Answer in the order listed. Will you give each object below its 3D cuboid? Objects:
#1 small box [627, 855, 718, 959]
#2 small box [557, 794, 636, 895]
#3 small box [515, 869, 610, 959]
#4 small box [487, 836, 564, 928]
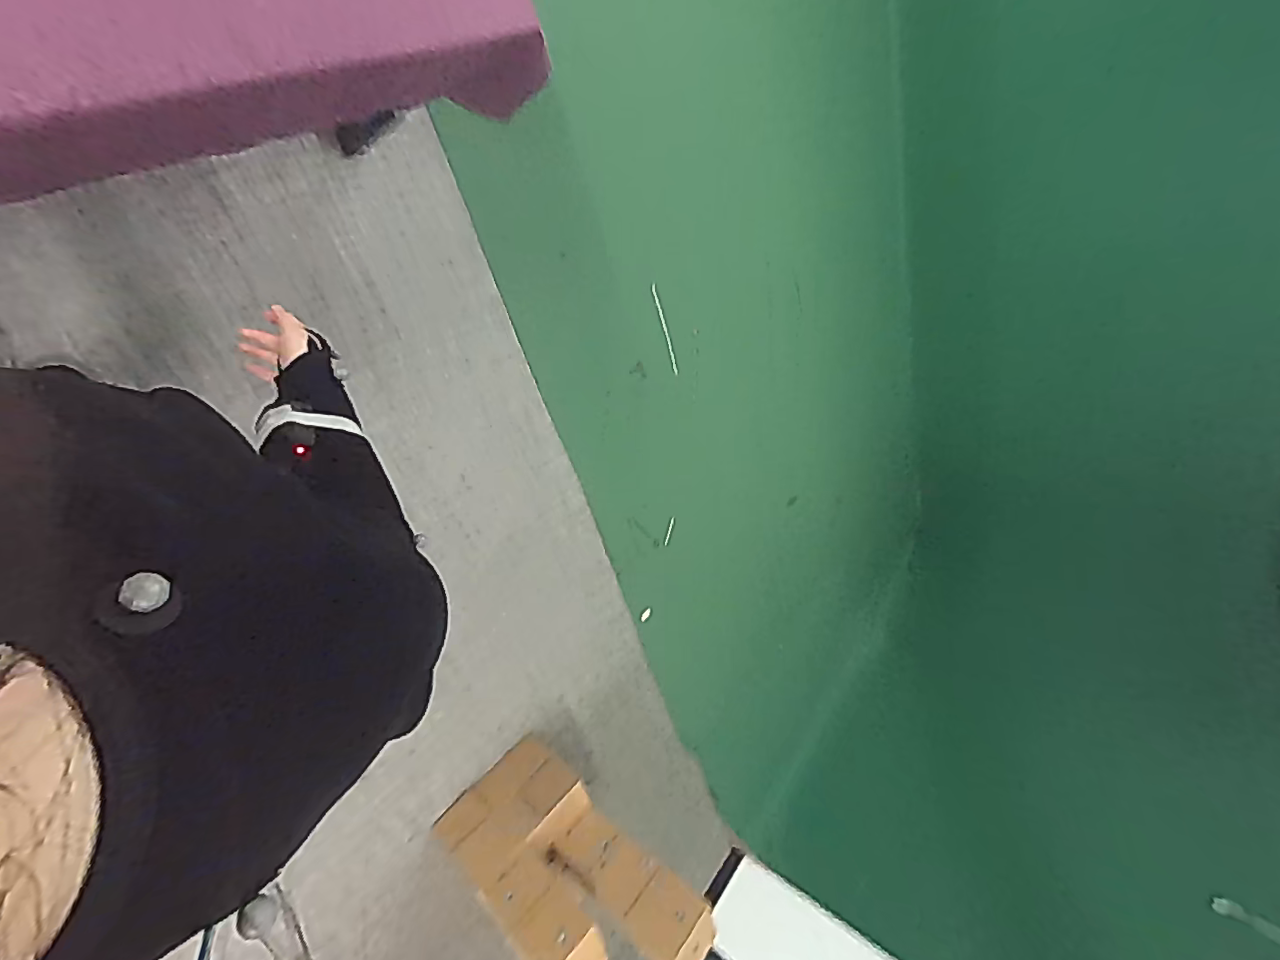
[{"bbox_3d":[0.092,1.202,1.502,0.179,0.176,0.168,-35,123,-36],"label":"small box"},{"bbox_3d":[-0.141,1.159,1.733,0.168,0.176,0.179,-33,123,-37],"label":"small box"},{"bbox_3d":[-0.211,1.199,1.434,0.179,0.176,0.168,-31,120,-36],"label":"small box"},{"bbox_3d":[-0.315,1.174,1.557,0.168,0.176,0.179,-31,121,-35],"label":"small box"}]
